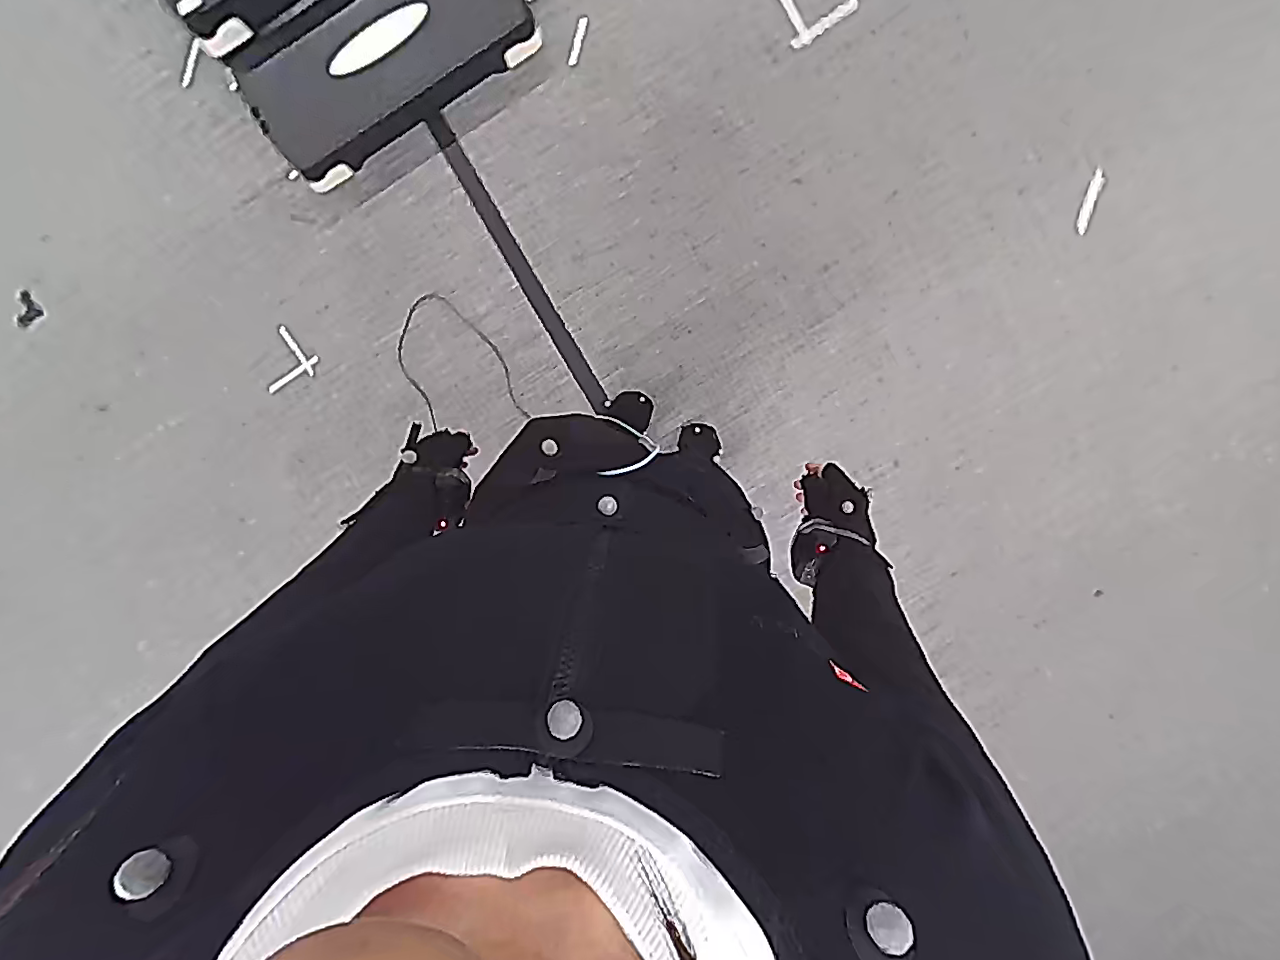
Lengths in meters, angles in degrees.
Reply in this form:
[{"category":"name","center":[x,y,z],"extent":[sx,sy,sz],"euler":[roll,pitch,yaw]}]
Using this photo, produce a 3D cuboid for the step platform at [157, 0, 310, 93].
[{"category":"step platform","center":[-0.716,-1.179,1.159],"extent":[0.684,0.204,0.286],"euler":[-32,98,3]}]
